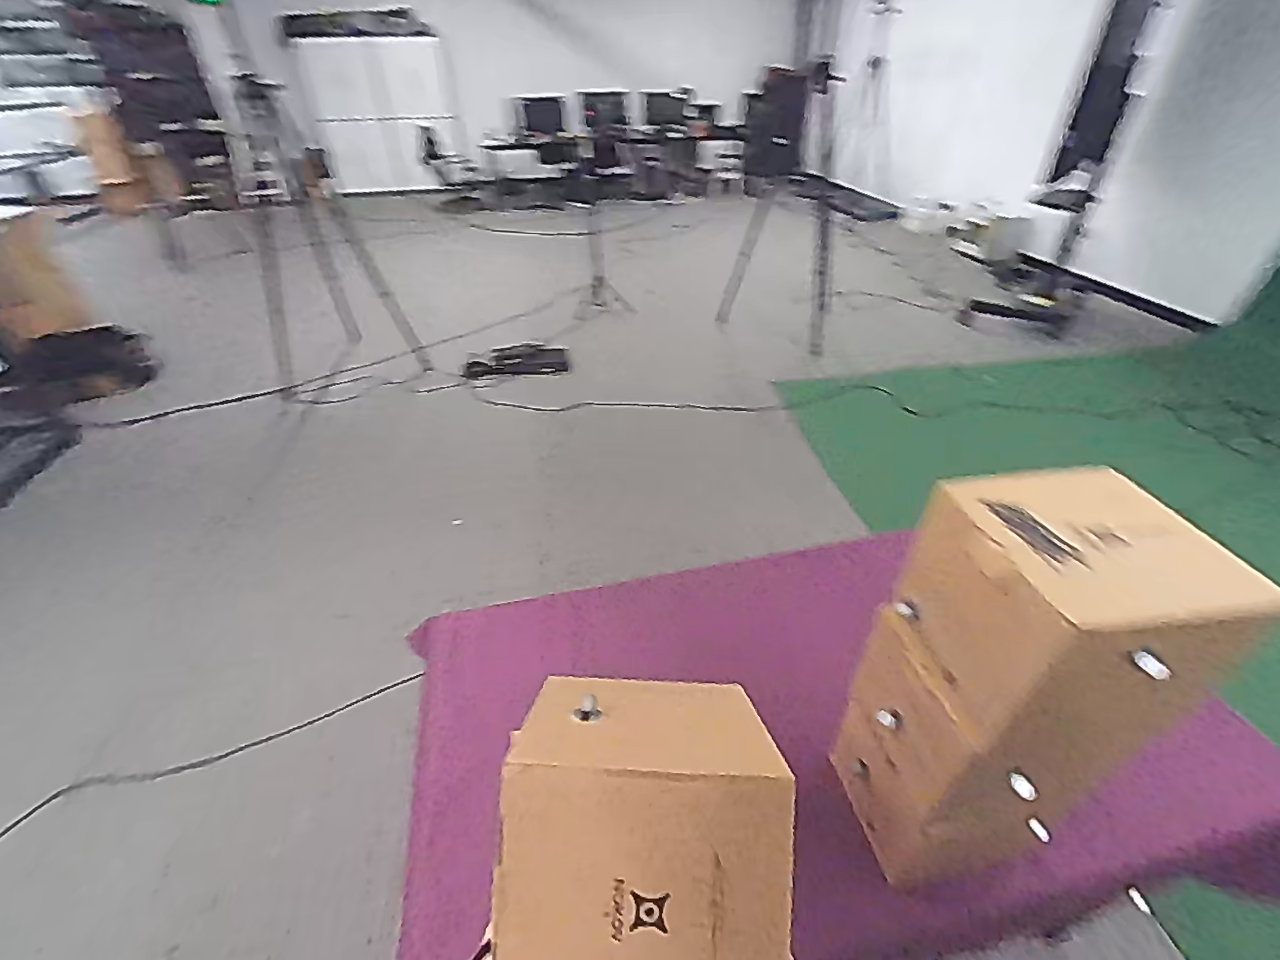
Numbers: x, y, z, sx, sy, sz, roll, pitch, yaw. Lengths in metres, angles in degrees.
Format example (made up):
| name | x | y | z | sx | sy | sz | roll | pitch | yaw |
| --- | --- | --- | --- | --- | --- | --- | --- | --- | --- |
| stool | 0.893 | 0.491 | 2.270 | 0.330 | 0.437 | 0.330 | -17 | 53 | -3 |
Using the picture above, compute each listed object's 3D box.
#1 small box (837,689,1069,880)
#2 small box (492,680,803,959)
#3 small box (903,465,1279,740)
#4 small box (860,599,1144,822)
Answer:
| name | x | y | z | sx | sy | sz | roll | pitch | yaw |
| --- | --- | --- | --- | --- | --- | --- | --- | --- | --- |
| small box | 0.367 | 0.367 | 0.678 | 0.179 | 0.176 | 0.168 | -8 | 38 | -8 |
| small box | 0.004 | 0.255 | 0.390 | 0.179 | 0.168 | 0.176 | 3 | -2 | 0 |
| small box | 0.359 | 0.106 | 0.477 | 0.179 | 0.176 | 0.168 | -5 | 37 | -6 |
| small box | 0.355 | 0.237 | 0.578 | 0.179 | 0.176 | 0.168 | -6 | 38 | -5 |
